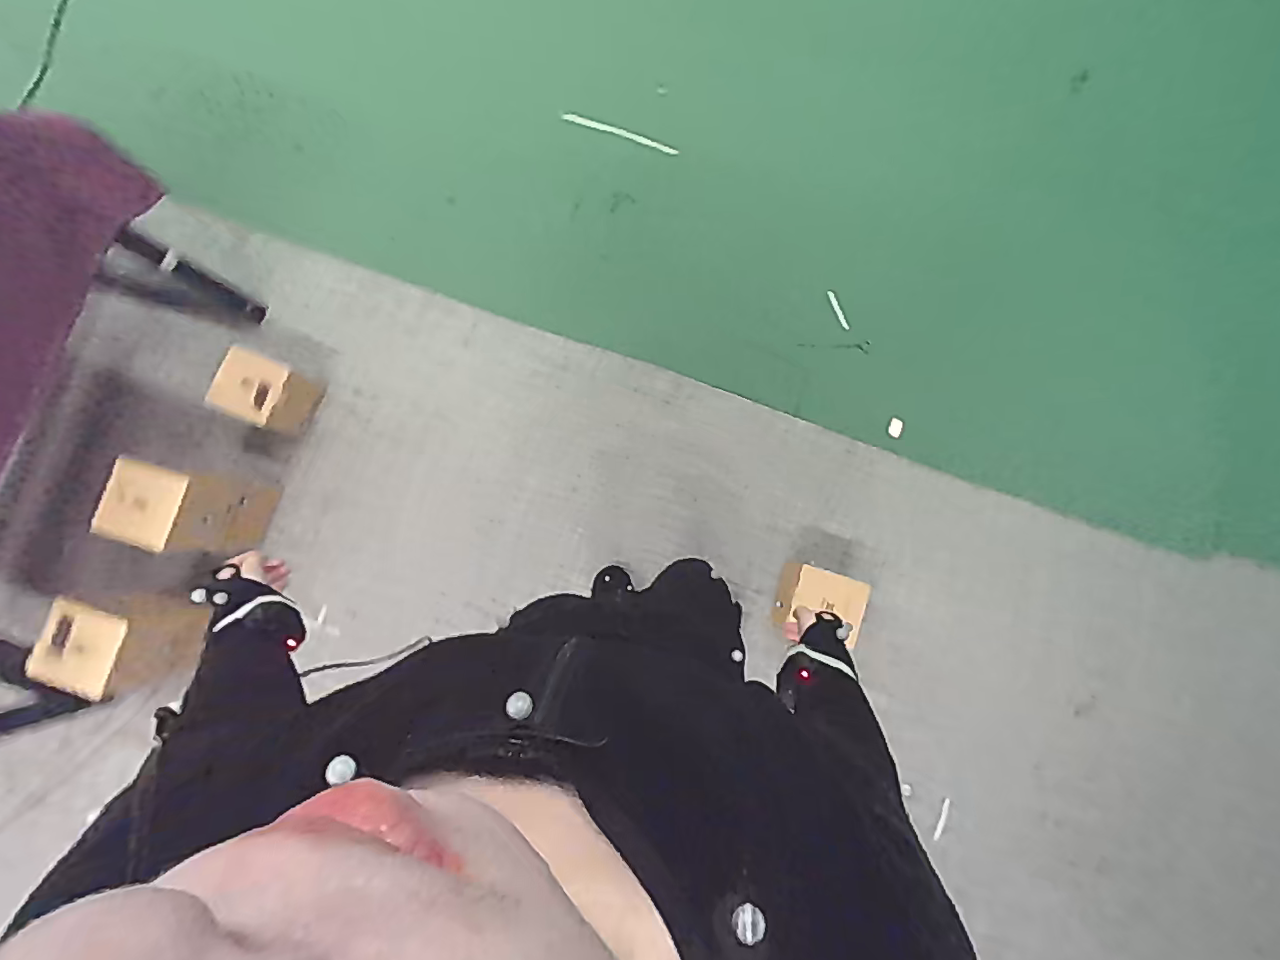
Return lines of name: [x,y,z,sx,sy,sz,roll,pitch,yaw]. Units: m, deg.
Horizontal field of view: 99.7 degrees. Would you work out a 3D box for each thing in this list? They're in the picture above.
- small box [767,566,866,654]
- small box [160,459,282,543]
small box: [0.446,0.328,1.398,0.179,0.176,0.168,20,85,2]
small box: [-1.115,0.062,1.454,0.168,0.176,0.179,19,84,3]
